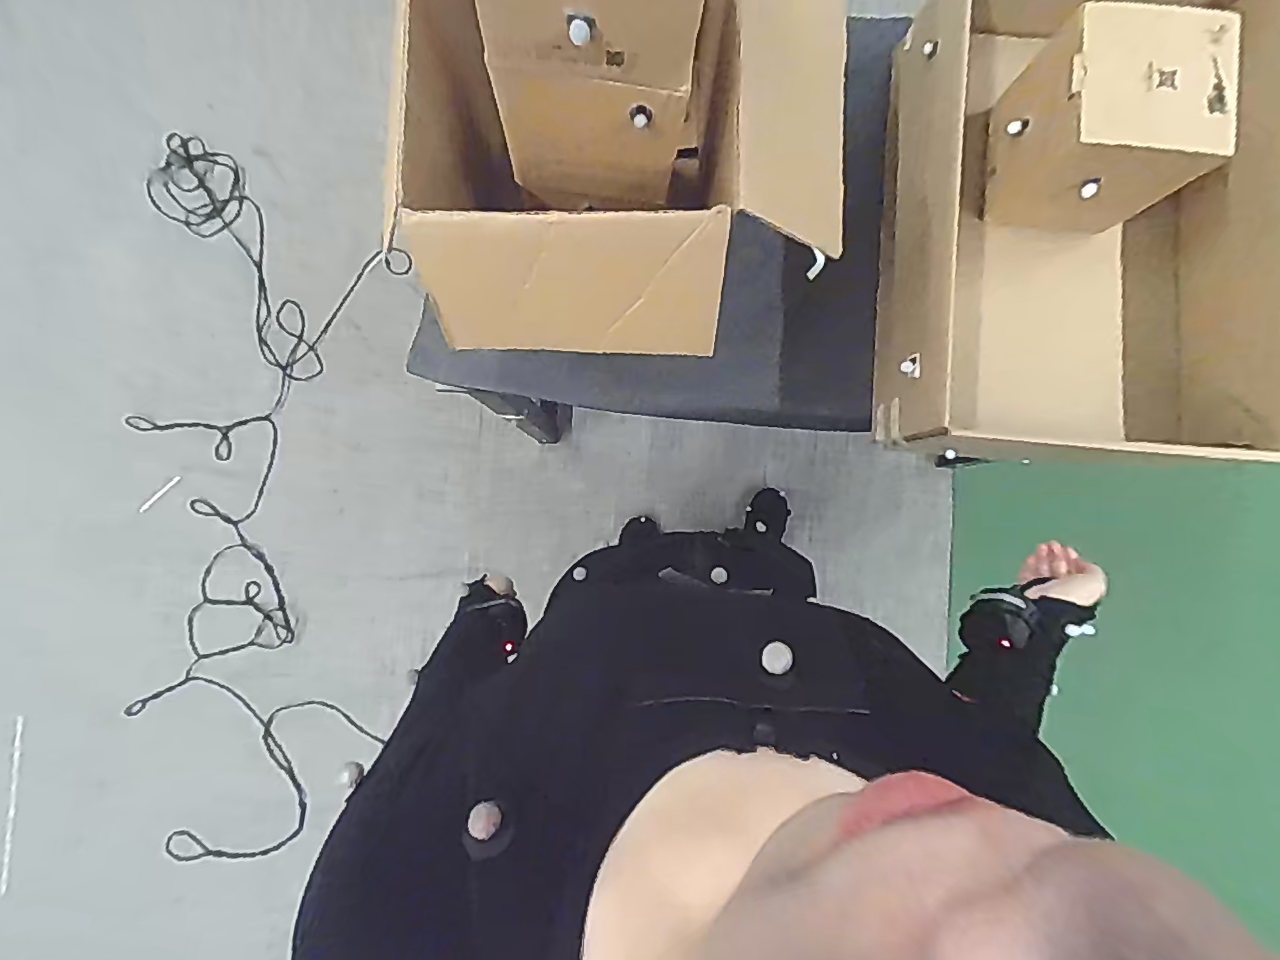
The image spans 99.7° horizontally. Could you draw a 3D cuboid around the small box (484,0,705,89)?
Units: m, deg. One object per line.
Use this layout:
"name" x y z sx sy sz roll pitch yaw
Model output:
"small box" -0.031 -0.428 0.378 0.168 0.176 0.179 2 86 -5
